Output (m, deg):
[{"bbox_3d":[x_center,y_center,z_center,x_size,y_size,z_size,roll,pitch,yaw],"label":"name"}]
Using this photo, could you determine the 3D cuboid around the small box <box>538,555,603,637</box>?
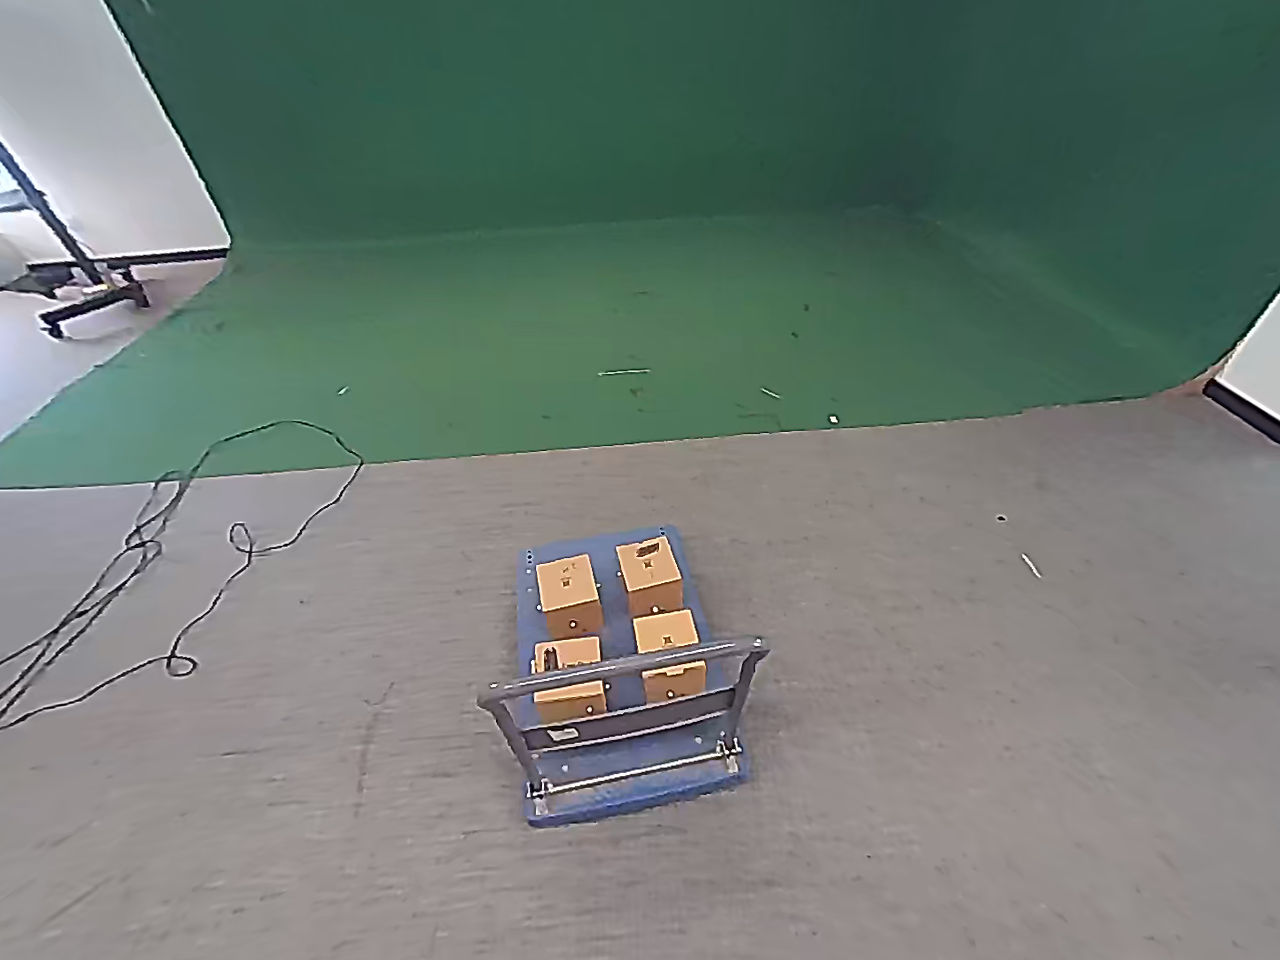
[{"bbox_3d":[-0.214,0.366,1.677,0.168,0.176,0.179,-11,44,-9],"label":"small box"}]

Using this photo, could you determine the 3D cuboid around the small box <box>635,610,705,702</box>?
[{"bbox_3d":[0.079,0.496,1.521,0.168,0.176,0.179,-9,44,-5],"label":"small box"}]

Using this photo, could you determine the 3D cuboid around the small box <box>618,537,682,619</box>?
[{"bbox_3d":[0.029,0.314,1.715,0.168,0.176,0.179,-12,45,-8],"label":"small box"}]
